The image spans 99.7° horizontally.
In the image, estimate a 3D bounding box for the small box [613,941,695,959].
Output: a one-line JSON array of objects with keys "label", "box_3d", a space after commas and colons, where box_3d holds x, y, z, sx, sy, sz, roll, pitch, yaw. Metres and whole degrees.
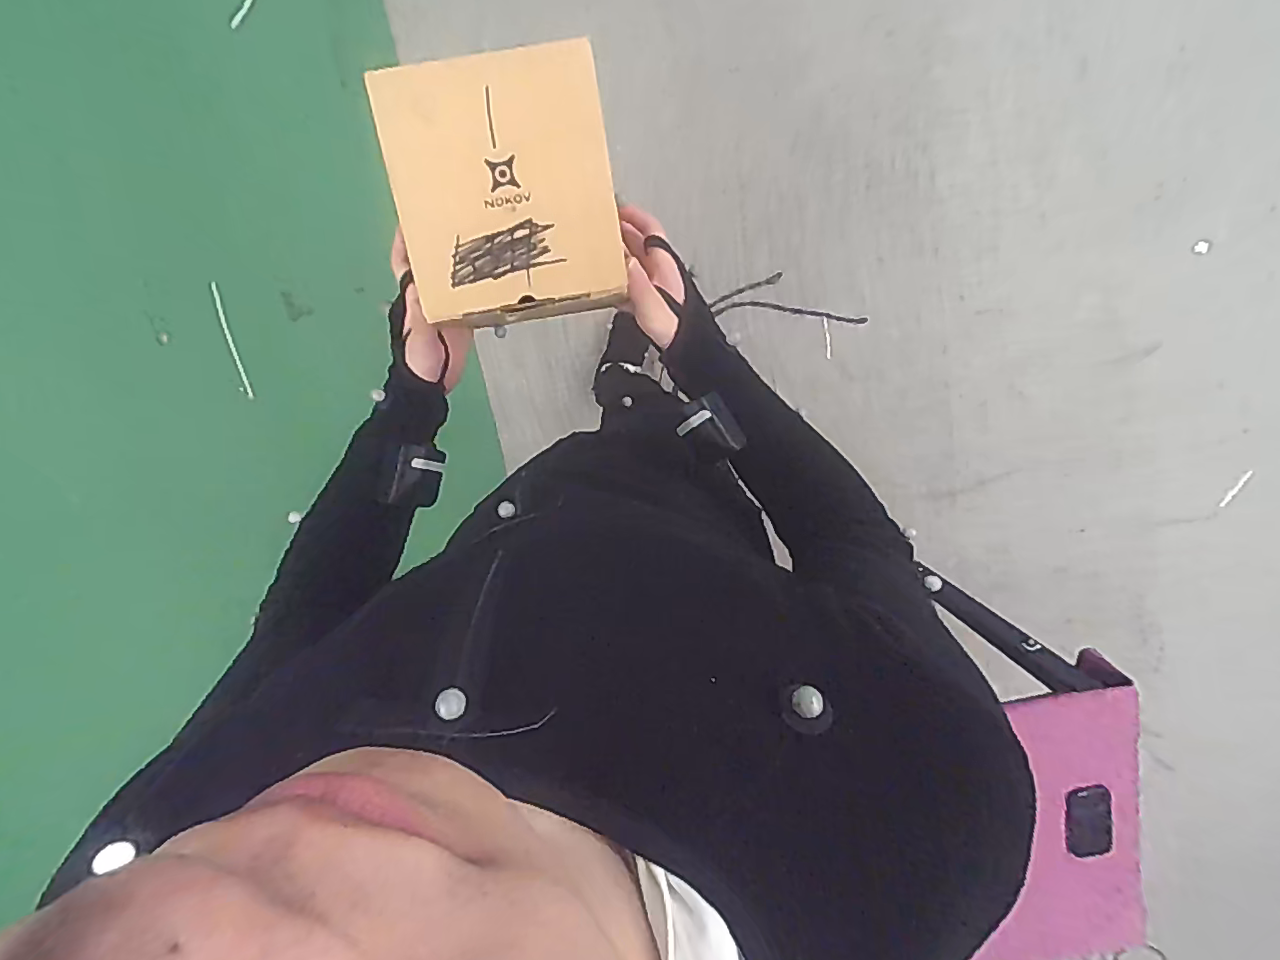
[{"label": "small box", "box_3d": [0.041, 1.030, 1.020, 0.168, 0.176, 0.179, -11, 102, 1]}]

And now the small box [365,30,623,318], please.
[{"label": "small box", "box_3d": [-0.106, -0.244, 0.481, 0.168, 0.176, 0.179, -9, 103, 0]}]
